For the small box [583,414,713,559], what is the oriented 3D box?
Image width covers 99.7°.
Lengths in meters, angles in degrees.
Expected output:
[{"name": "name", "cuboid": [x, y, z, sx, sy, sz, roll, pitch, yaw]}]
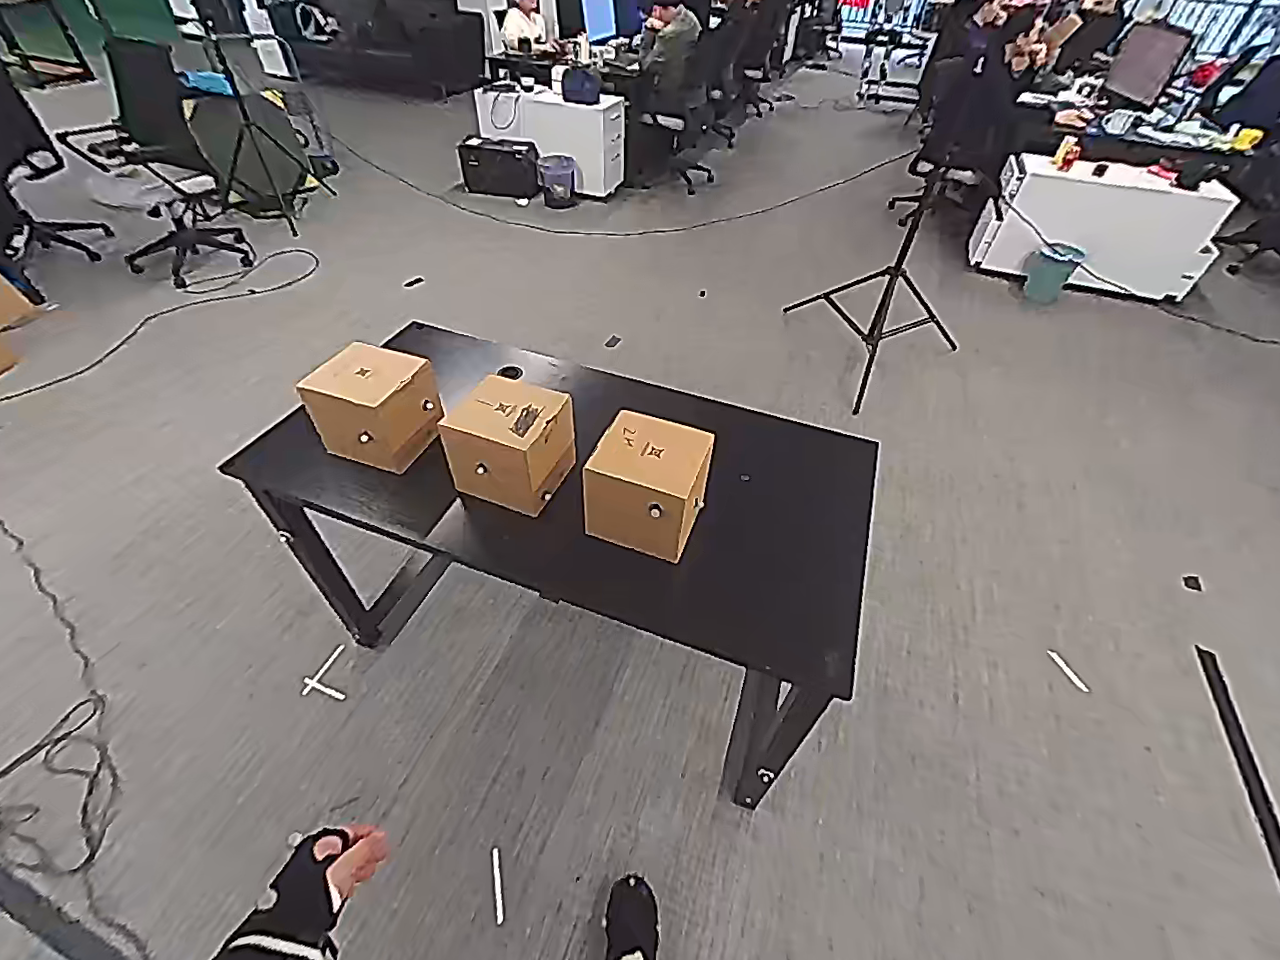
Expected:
[{"name": "small box", "cuboid": [0.014, 0.015, 0.948, 0.179, 0.176, 0.168, 16, 46, 13]}]

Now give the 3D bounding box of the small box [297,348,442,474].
[{"name": "small box", "cuboid": [-0.518, -0.133, 1.070, 0.179, 0.176, 0.168, 14, 46, 11]}]

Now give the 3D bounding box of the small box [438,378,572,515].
[{"name": "small box", "cuboid": [-0.239, -0.059, 1.009, 0.179, 0.176, 0.168, 16, 47, 14]}]
